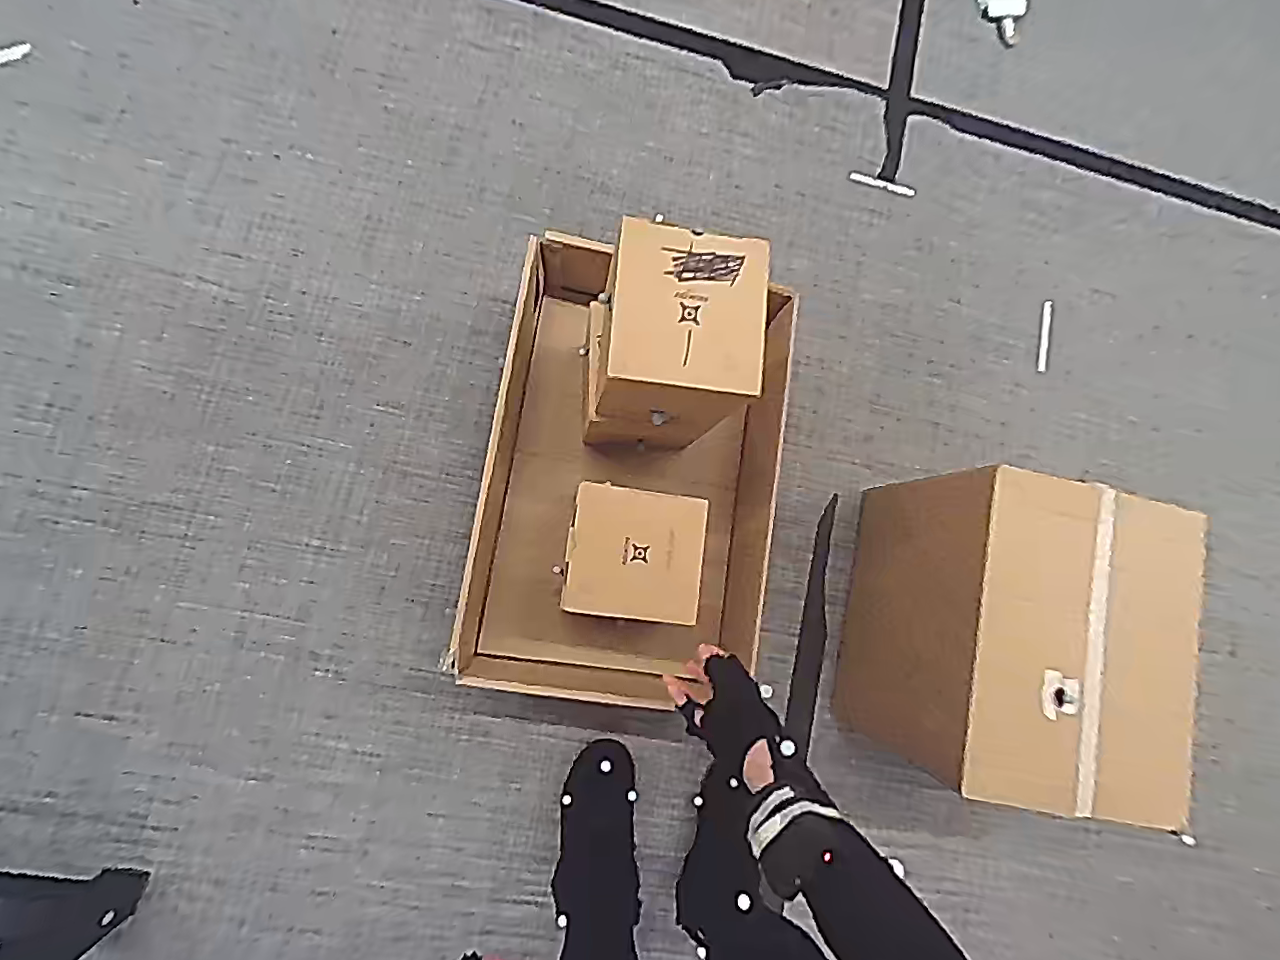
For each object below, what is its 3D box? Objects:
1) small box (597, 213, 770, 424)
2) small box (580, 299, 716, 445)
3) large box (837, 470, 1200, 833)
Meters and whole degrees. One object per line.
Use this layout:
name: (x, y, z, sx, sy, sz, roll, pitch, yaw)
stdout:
small box: (0.041, -0.175, 0.640, 0.168, 0.176, 0.179, 6, 84, -8)
small box: (0.006, -0.148, 0.800, 0.179, 0.176, 0.168, 2, 84, -9)
large box: (0.532, 0.222, 0.812, 0.320, 0.320, 0.408, 12, 82, -6)
